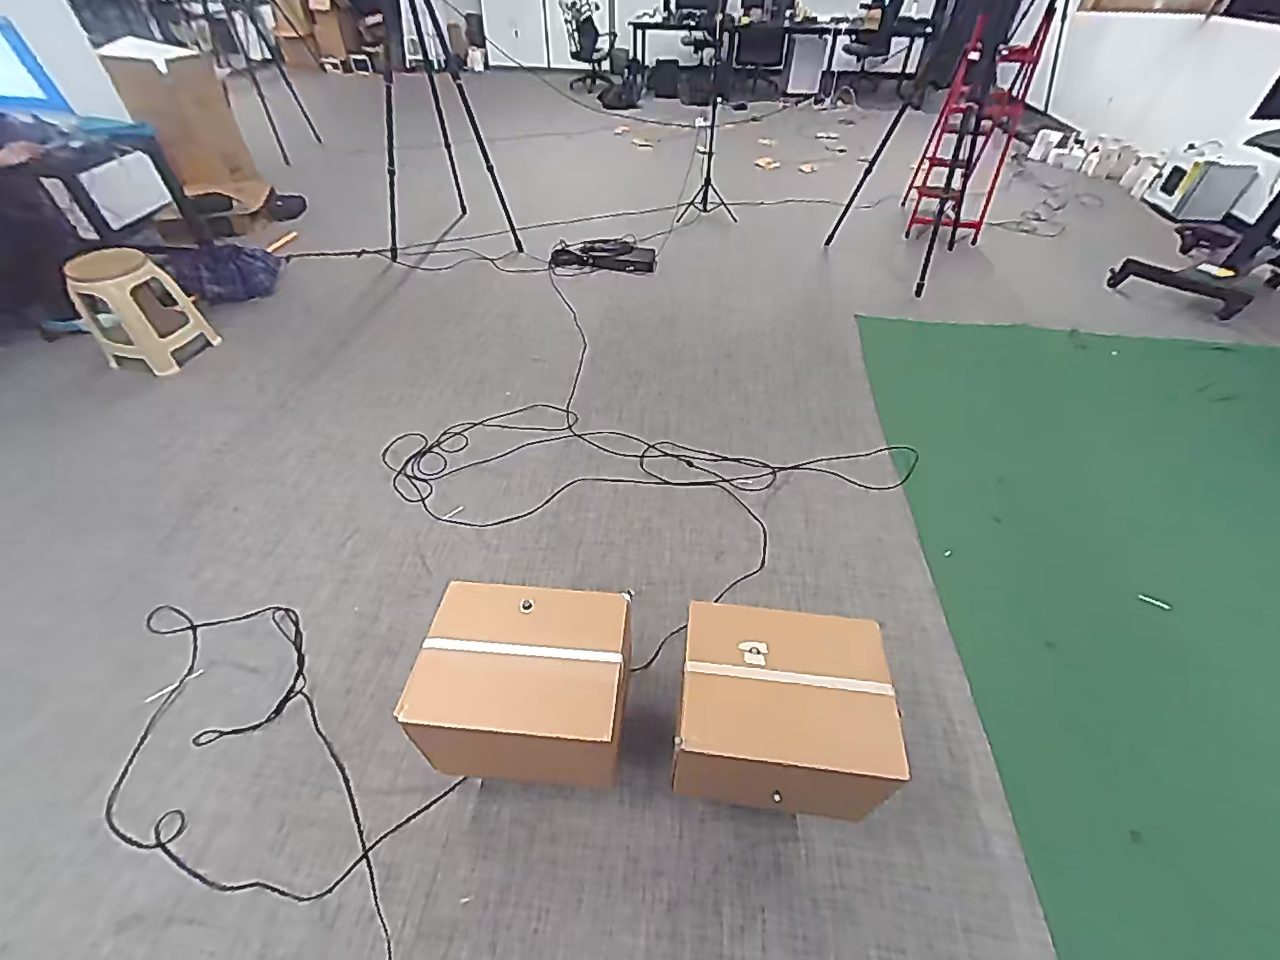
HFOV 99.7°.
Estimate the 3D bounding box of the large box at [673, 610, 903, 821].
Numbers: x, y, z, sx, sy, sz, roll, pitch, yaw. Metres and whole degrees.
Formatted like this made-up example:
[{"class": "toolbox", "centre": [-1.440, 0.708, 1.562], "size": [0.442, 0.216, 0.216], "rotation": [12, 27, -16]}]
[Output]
[{"class": "large box", "centre": [0.289, 0.513, 1.177], "size": [0.408, 0.320, 0.320], "rotation": [6, 45, 5]}]
